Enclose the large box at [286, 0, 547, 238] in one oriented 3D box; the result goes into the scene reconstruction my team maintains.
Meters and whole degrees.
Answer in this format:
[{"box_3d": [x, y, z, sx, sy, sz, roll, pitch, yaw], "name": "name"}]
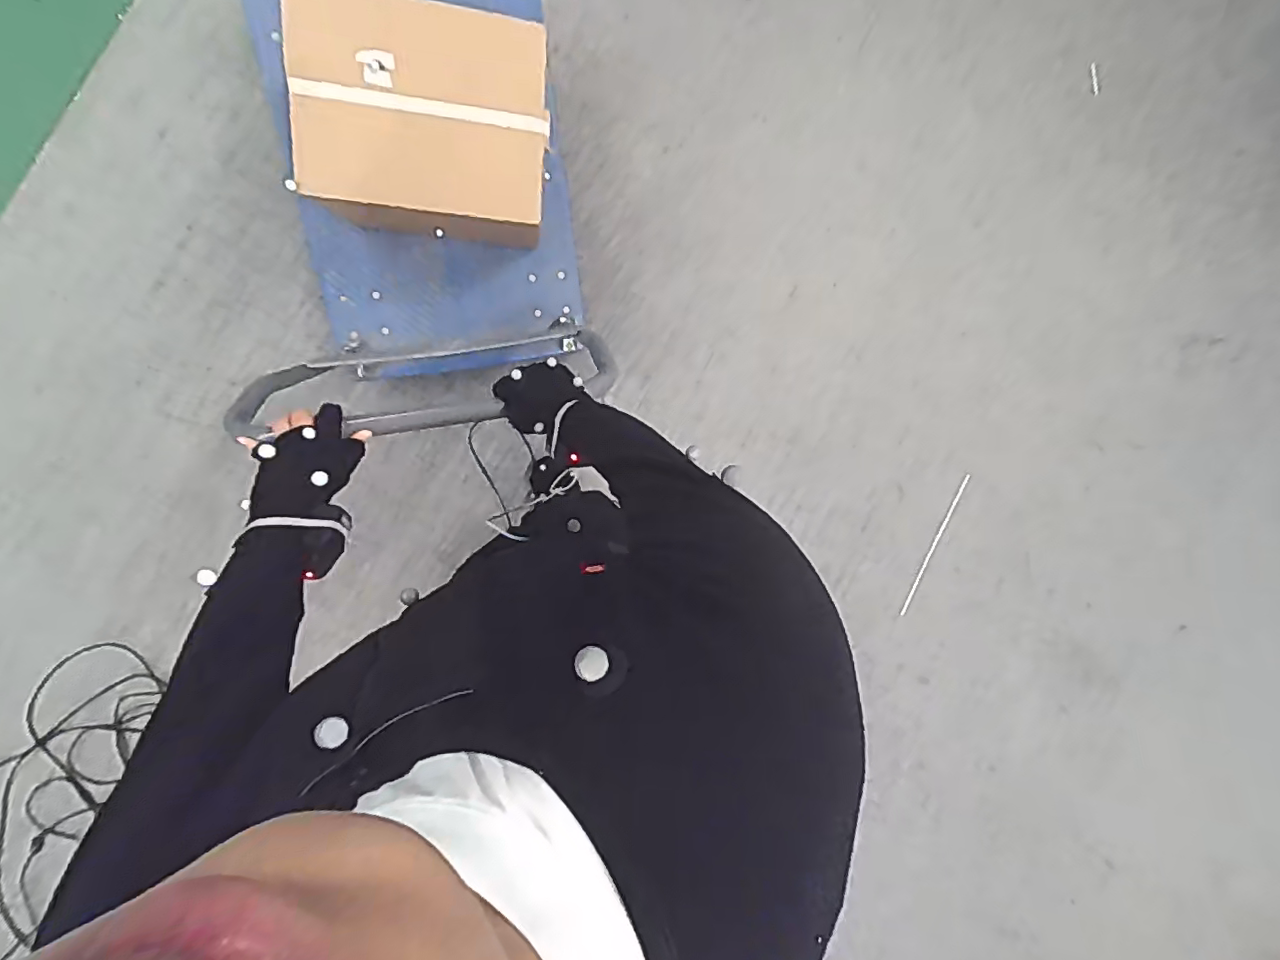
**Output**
[{"box_3d": [-0.386, -0.667, 1.042, 0.408, 0.320, 0.320, 2, 105, -11], "name": "large box"}]
